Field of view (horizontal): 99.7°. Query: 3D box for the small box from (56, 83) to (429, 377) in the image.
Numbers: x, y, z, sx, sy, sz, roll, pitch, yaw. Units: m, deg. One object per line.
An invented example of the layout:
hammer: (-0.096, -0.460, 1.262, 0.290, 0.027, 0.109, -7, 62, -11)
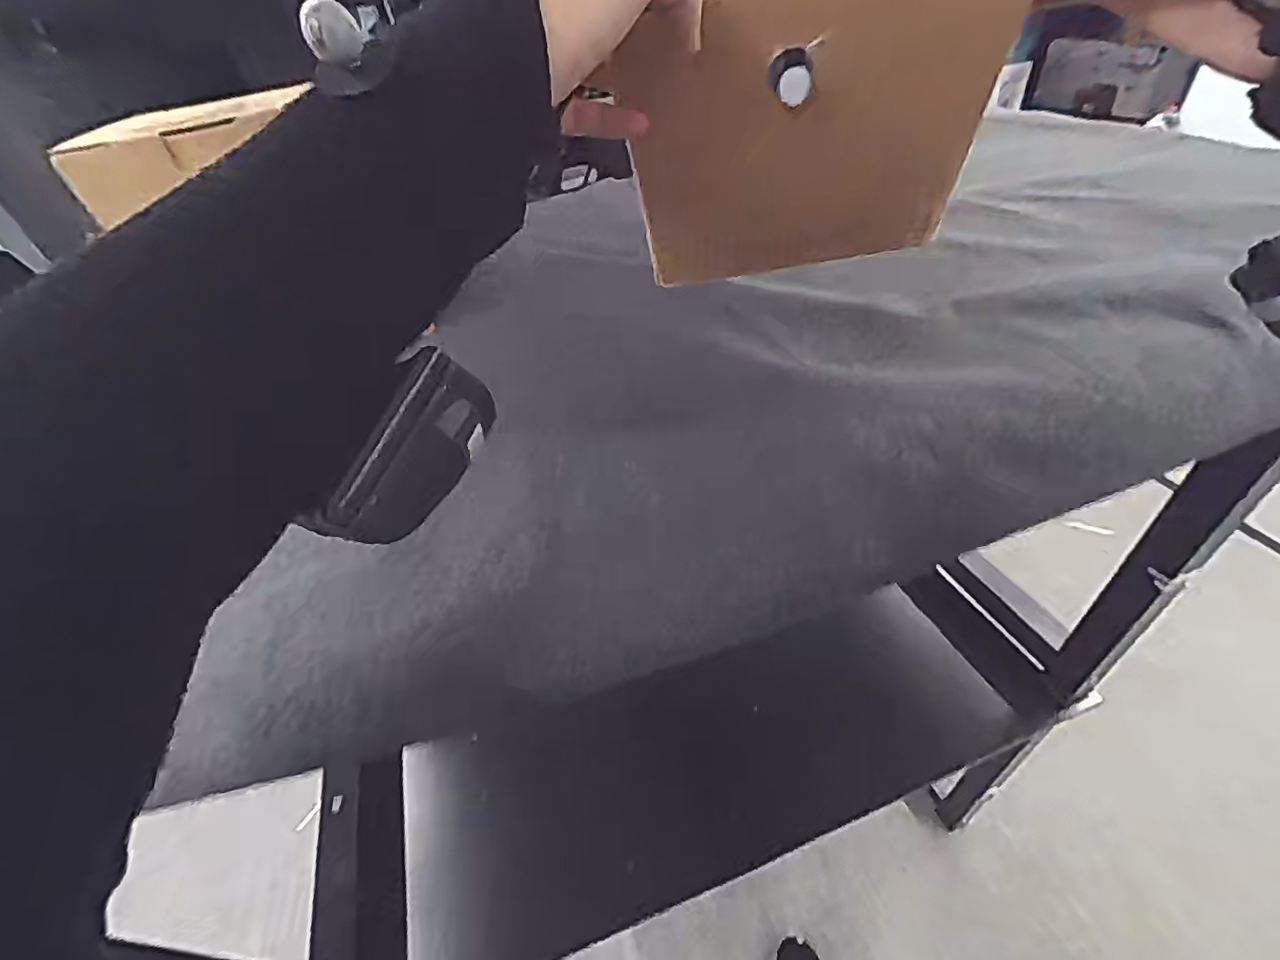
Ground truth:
small box: (-0.287, -0.202, 0.446, 0.168, 0.176, 0.179, -19, 42, -9)

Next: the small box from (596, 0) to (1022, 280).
small box: (0.081, -0.245, 0.311, 0.179, 0.176, 0.168, -7, 68, 11)
